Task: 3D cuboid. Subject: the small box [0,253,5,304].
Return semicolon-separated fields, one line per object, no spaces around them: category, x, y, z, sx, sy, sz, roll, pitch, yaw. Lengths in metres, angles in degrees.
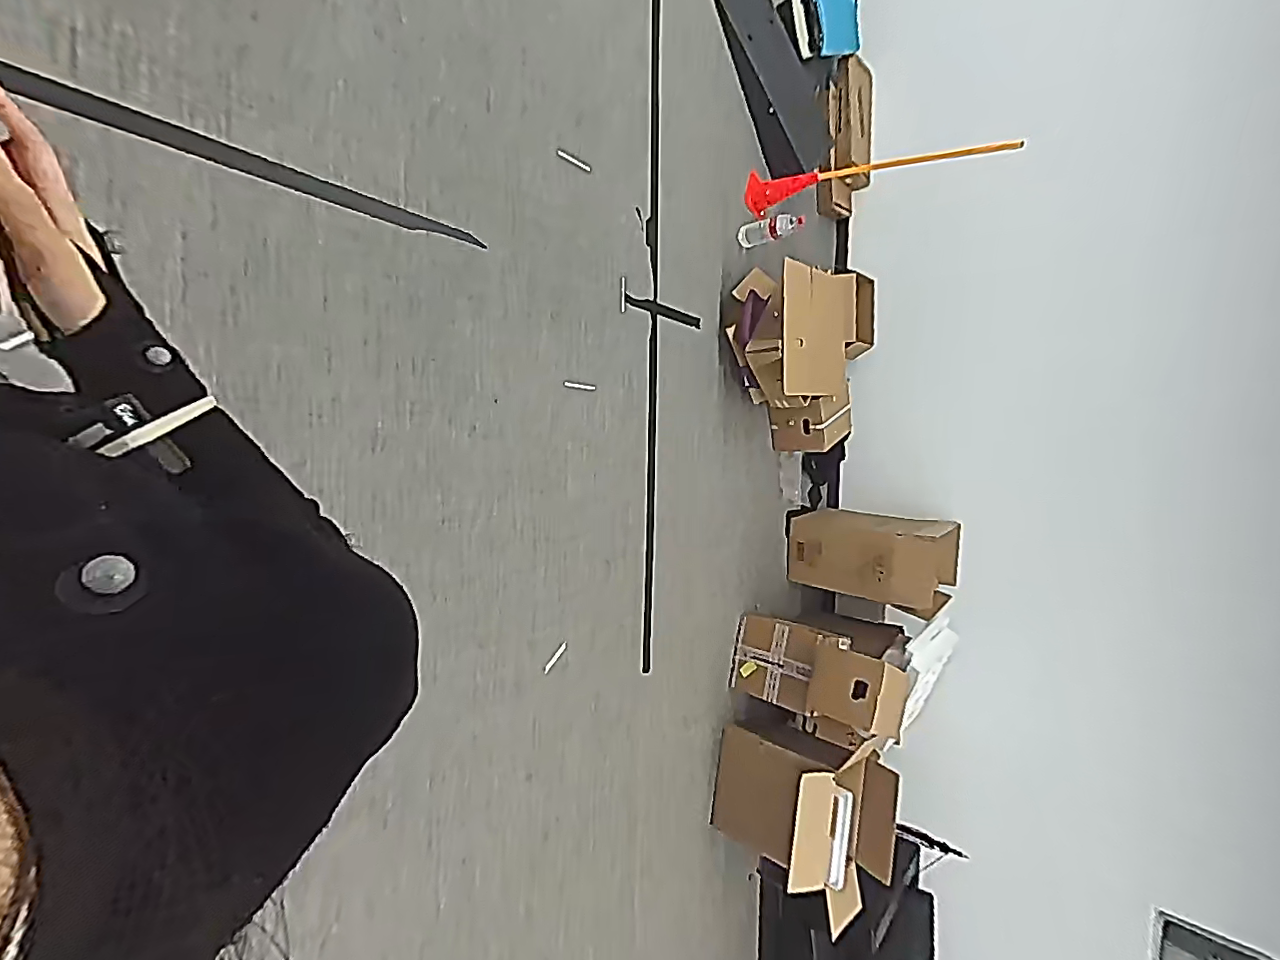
small box;-0.423;-0.181;0.242;0.168;0.176;0.179;-10;97;-49

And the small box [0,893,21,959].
small box;-1.178;0.865;0.915;0.168;0.176;0.179;2;91;-50
